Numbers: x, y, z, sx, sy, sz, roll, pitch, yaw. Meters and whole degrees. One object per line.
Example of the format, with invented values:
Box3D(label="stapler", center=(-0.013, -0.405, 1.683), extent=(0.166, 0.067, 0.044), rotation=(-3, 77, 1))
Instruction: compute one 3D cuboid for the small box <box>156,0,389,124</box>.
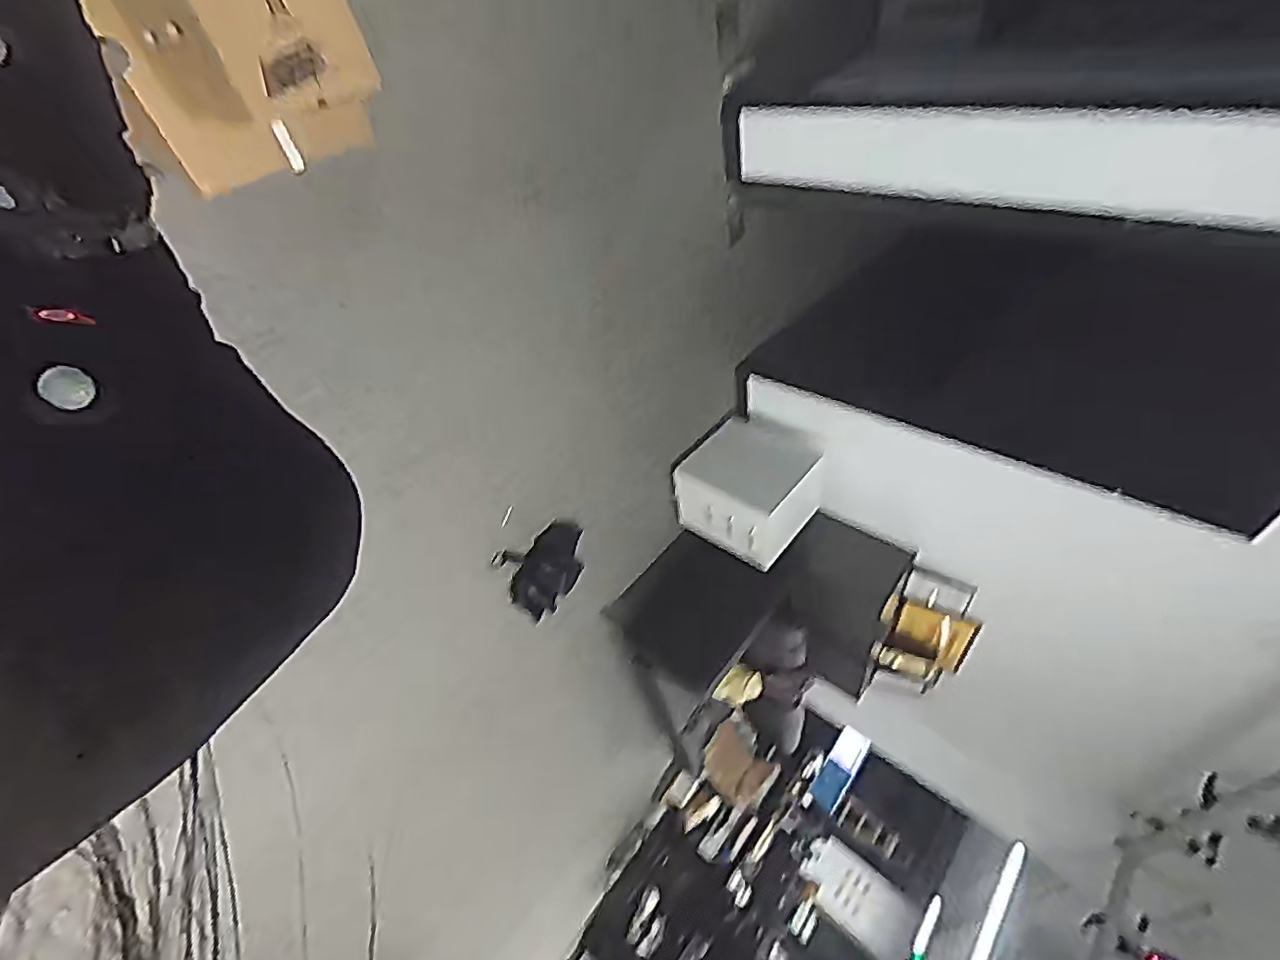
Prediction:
Box3D(label="small box", center=(-0.441, -0.544, 0.635), extent=(0.168, 0.176, 0.179), rotation=(-41, 140, -25))
